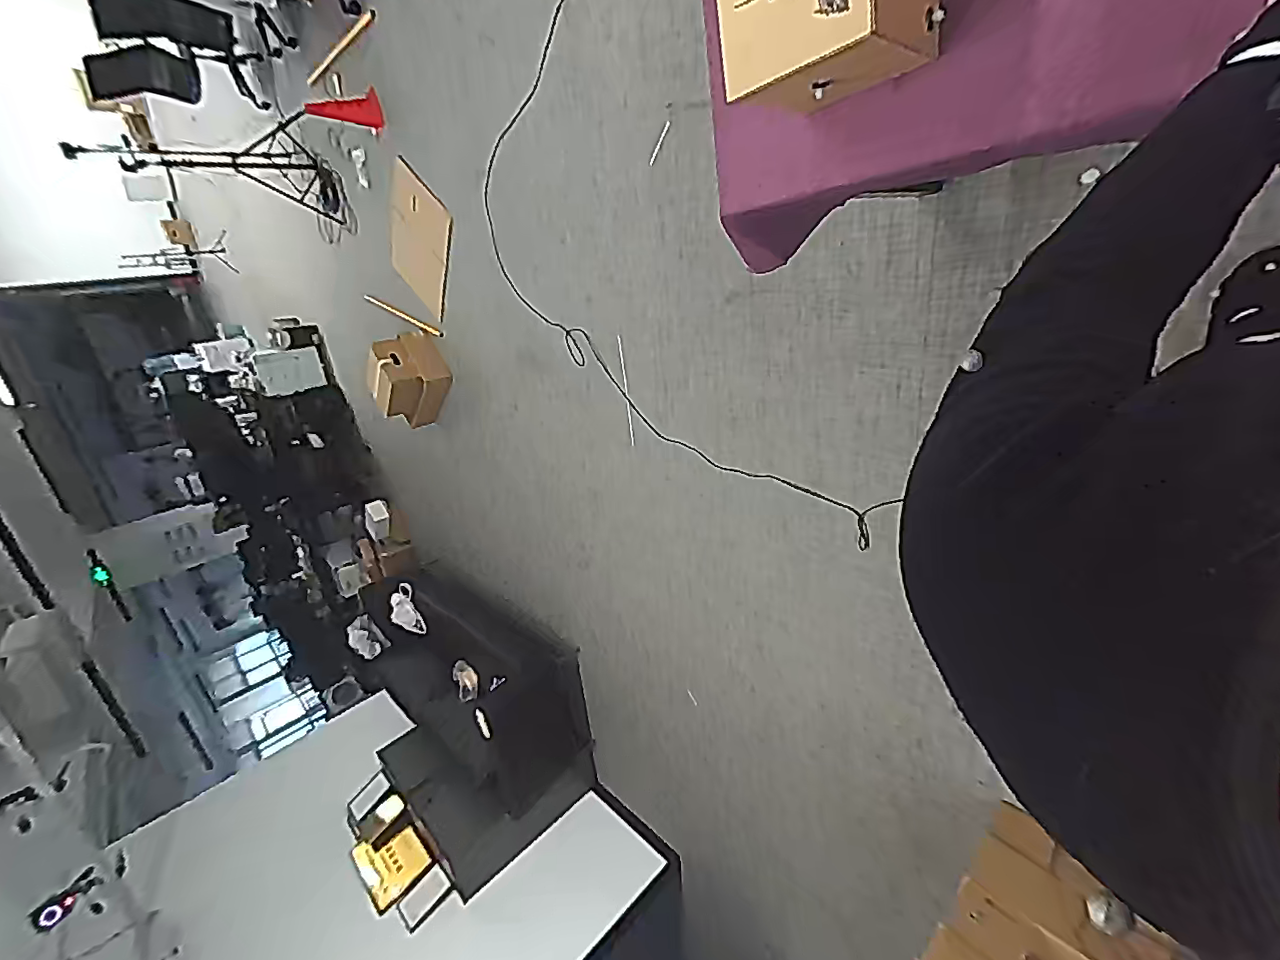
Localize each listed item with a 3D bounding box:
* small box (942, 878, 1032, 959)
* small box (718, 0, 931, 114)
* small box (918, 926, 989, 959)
[{"bbox_3d":[0.903,1.213,1.427,0.168,0.176,0.179,25,130,41],"label":"small box"},{"bbox_3d":[0.207,-0.533,0.599,0.179,0.176,0.168,11,117,47],"label":"small box"},{"bbox_3d":[0.778,1.260,1.334,0.179,0.176,0.168,25,129,40],"label":"small box"}]
